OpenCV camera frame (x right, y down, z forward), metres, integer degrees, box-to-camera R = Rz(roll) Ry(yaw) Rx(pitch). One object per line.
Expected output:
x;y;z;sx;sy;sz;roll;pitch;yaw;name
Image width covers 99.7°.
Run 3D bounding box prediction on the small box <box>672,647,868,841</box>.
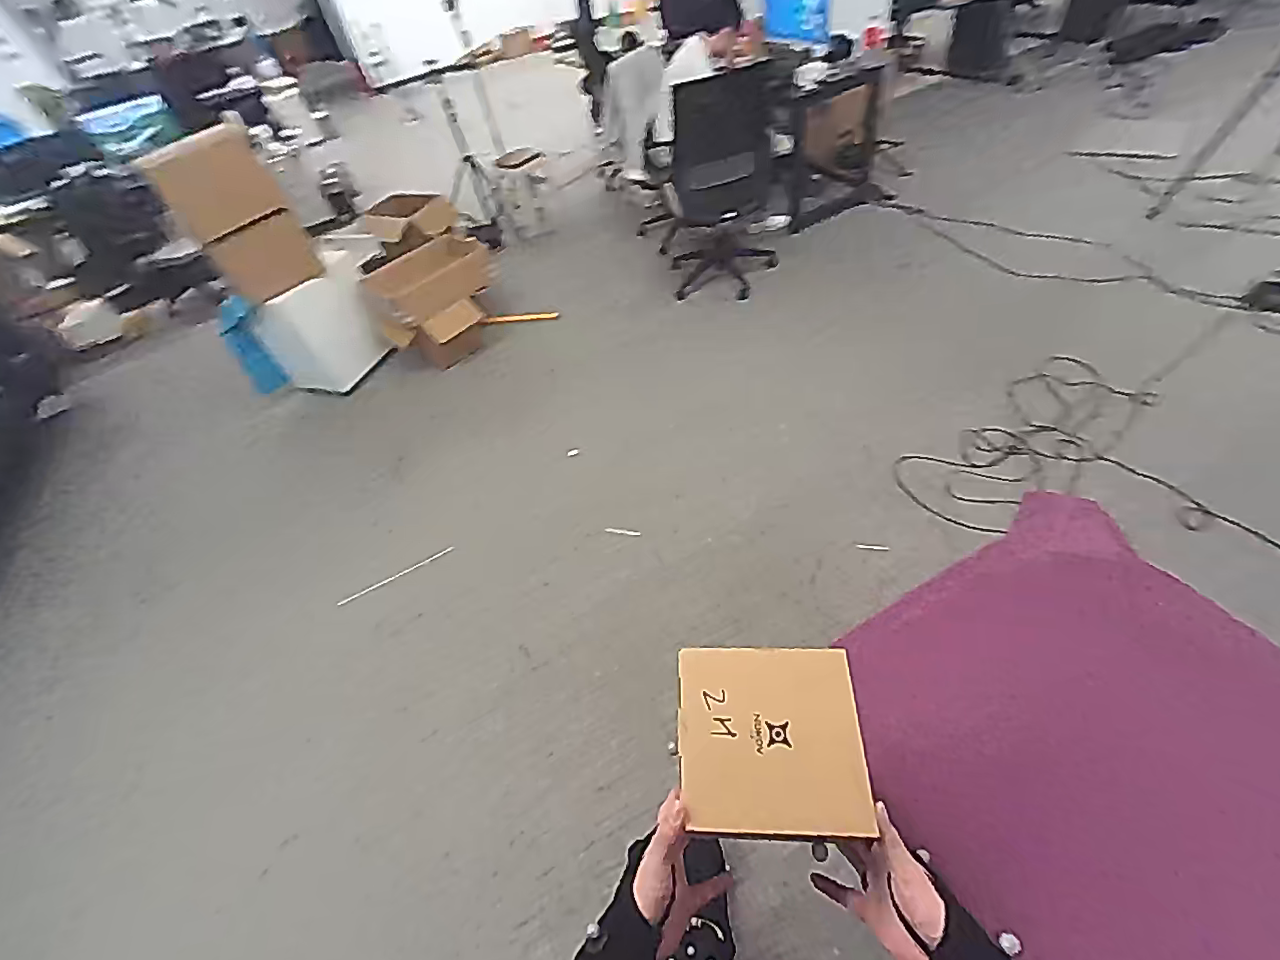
0.125;0.291;0.592;0.179;0.176;0.168;-2;54;5;small box
